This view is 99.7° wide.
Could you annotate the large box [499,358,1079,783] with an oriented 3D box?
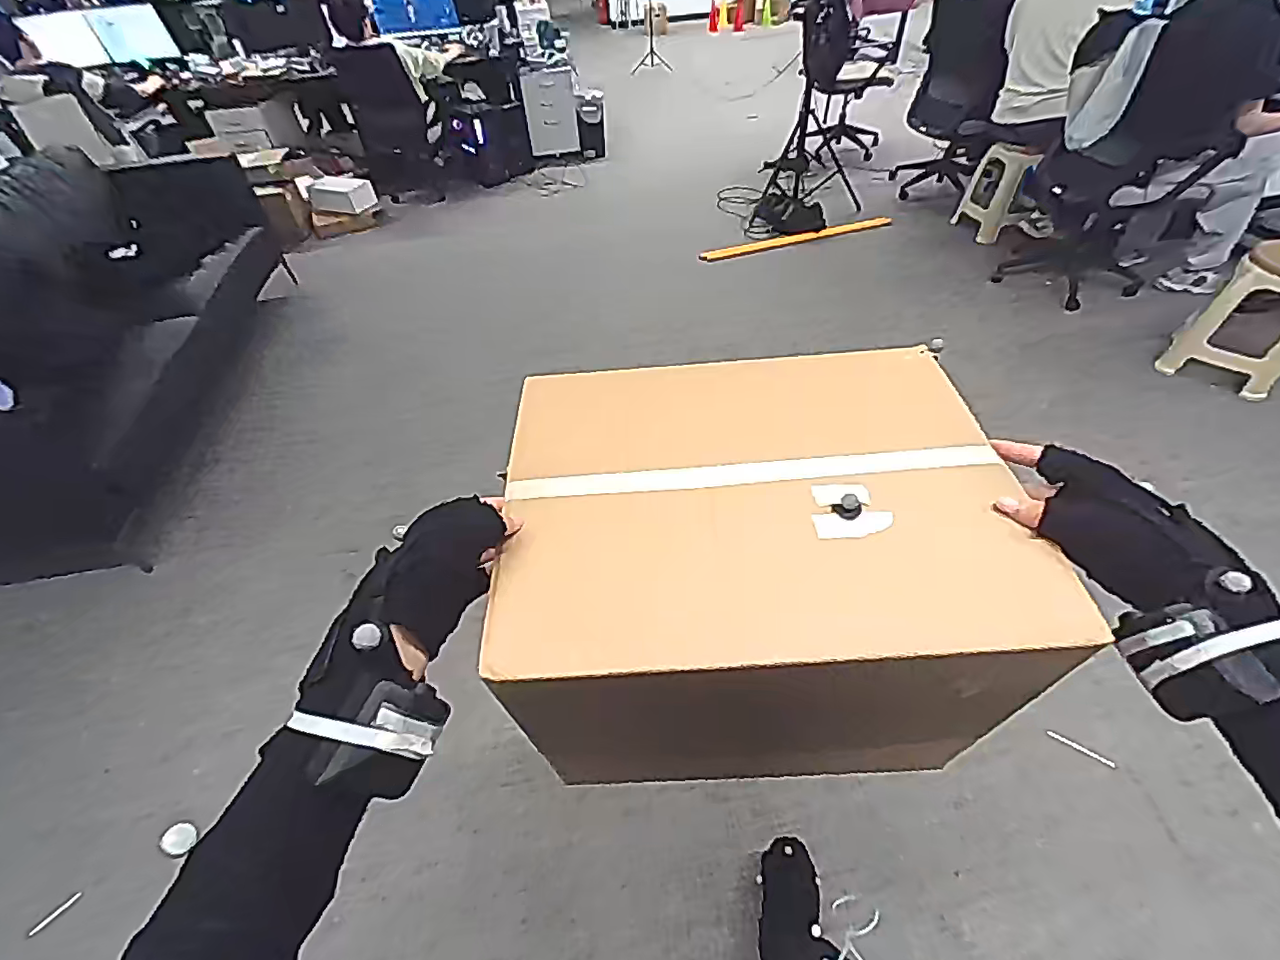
[{"bbox_3d":[0.102,0.103,0.573,0.408,0.320,0.320,-5,49,2],"label":"large box"}]
